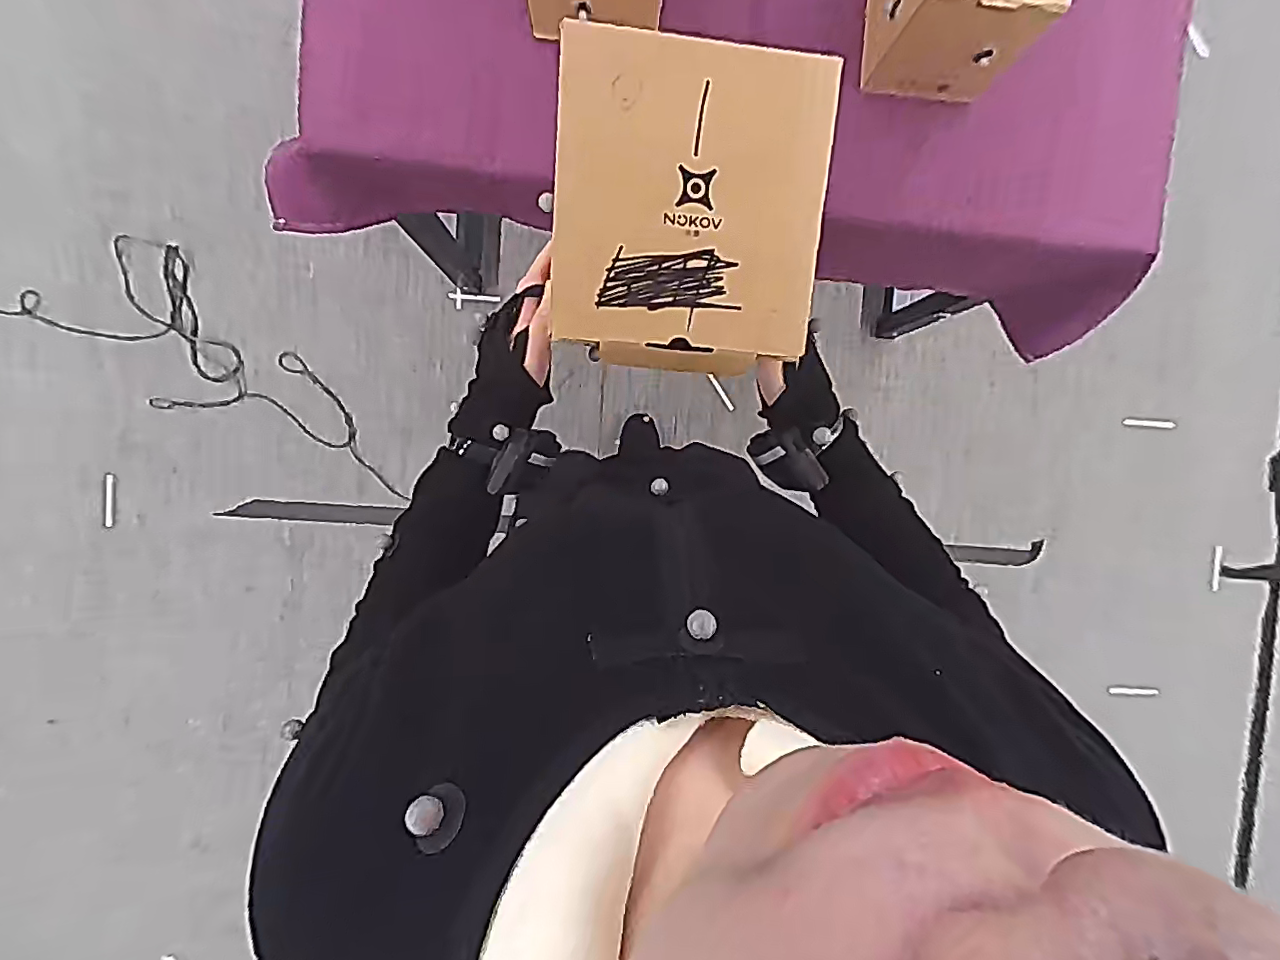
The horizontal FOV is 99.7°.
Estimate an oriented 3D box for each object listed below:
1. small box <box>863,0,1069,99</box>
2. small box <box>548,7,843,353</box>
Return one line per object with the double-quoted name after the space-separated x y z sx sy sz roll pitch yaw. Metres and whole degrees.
0.395 -0.615 0.670 0.168 0.176 0.179 4 93 -4 "small box"
0.024 -0.192 0.404 0.168 0.176 0.179 3 103 -7 "small box"
